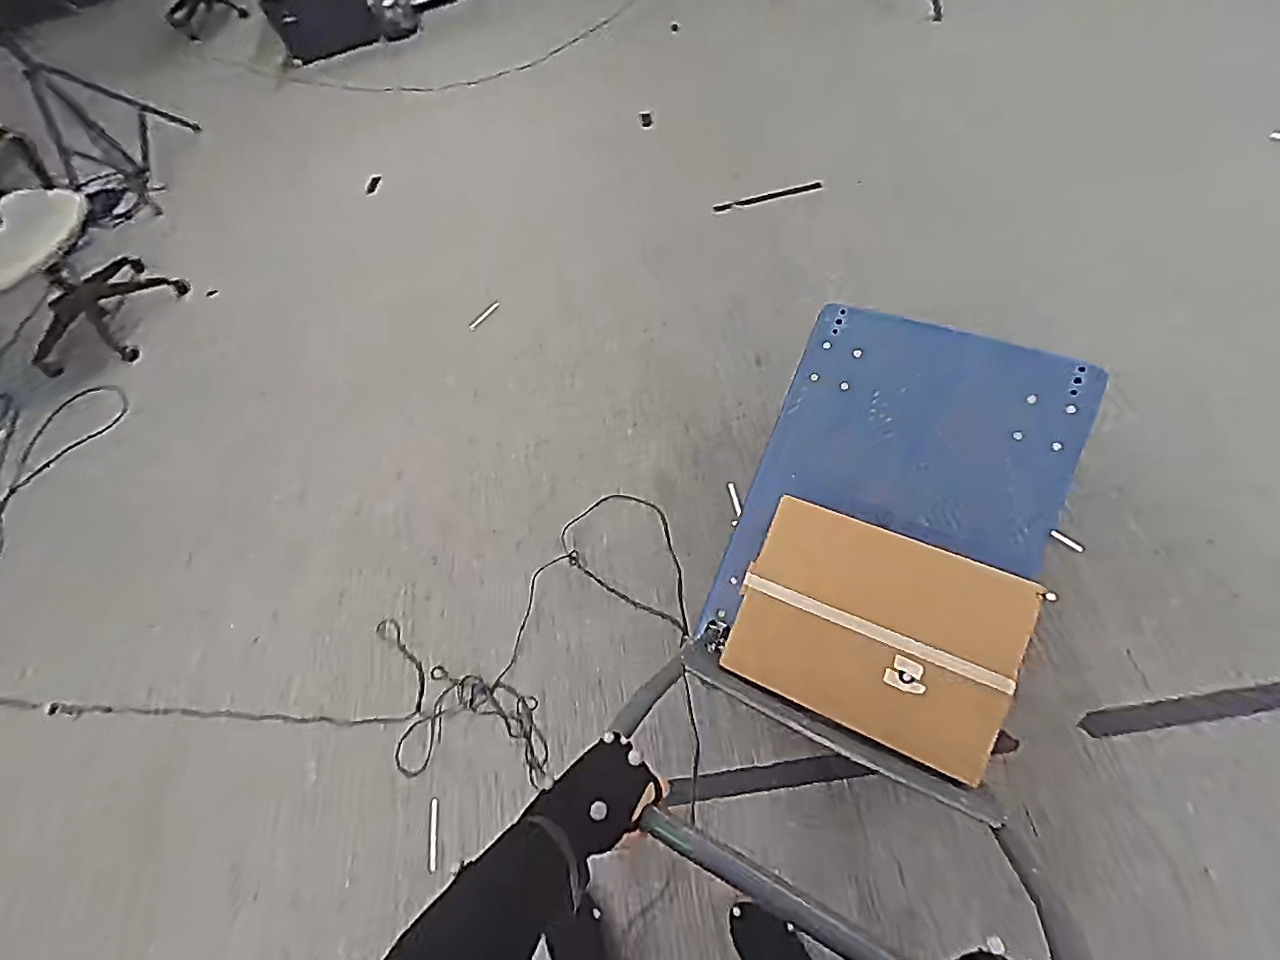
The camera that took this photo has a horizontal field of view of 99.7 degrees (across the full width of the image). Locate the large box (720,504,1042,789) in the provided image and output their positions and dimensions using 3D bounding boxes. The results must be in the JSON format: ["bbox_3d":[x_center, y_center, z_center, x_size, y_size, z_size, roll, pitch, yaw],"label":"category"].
[{"bbox_3d":[0.399,0.265,0.984,0.408,0.320,0.320,20,88,19],"label":"large box"}]
